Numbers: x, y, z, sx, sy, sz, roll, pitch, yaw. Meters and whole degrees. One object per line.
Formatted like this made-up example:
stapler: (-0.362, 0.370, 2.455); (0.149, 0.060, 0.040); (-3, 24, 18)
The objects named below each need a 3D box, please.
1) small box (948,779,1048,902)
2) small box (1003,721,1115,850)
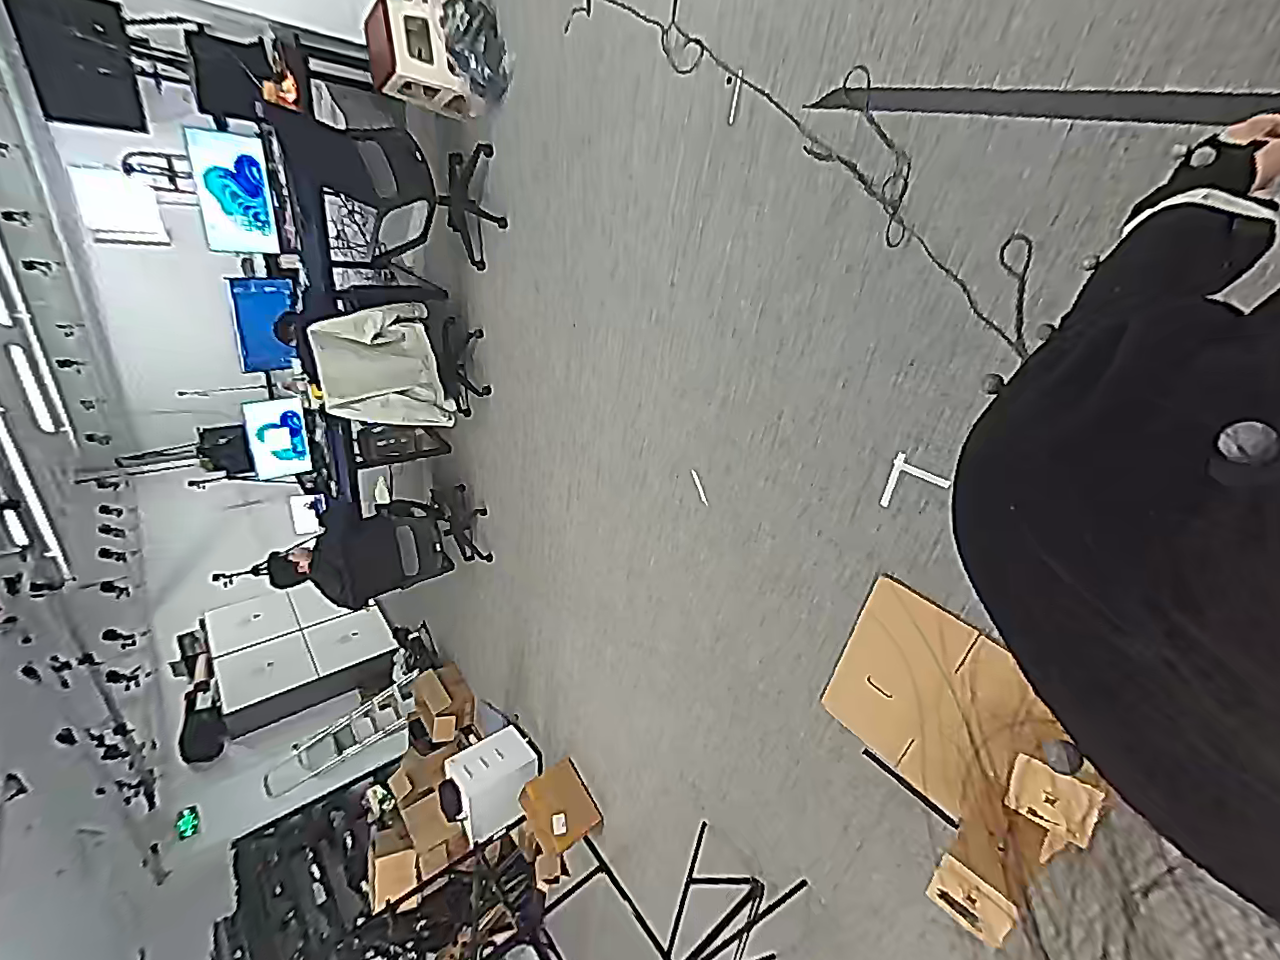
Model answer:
small box: (0.967, 0.960, 1.454); (0.168, 0.176, 0.179); (25, 120, 43)
small box: (1.016, 0.725, 1.308); (0.168, 0.176, 0.179); (20, 117, 45)
